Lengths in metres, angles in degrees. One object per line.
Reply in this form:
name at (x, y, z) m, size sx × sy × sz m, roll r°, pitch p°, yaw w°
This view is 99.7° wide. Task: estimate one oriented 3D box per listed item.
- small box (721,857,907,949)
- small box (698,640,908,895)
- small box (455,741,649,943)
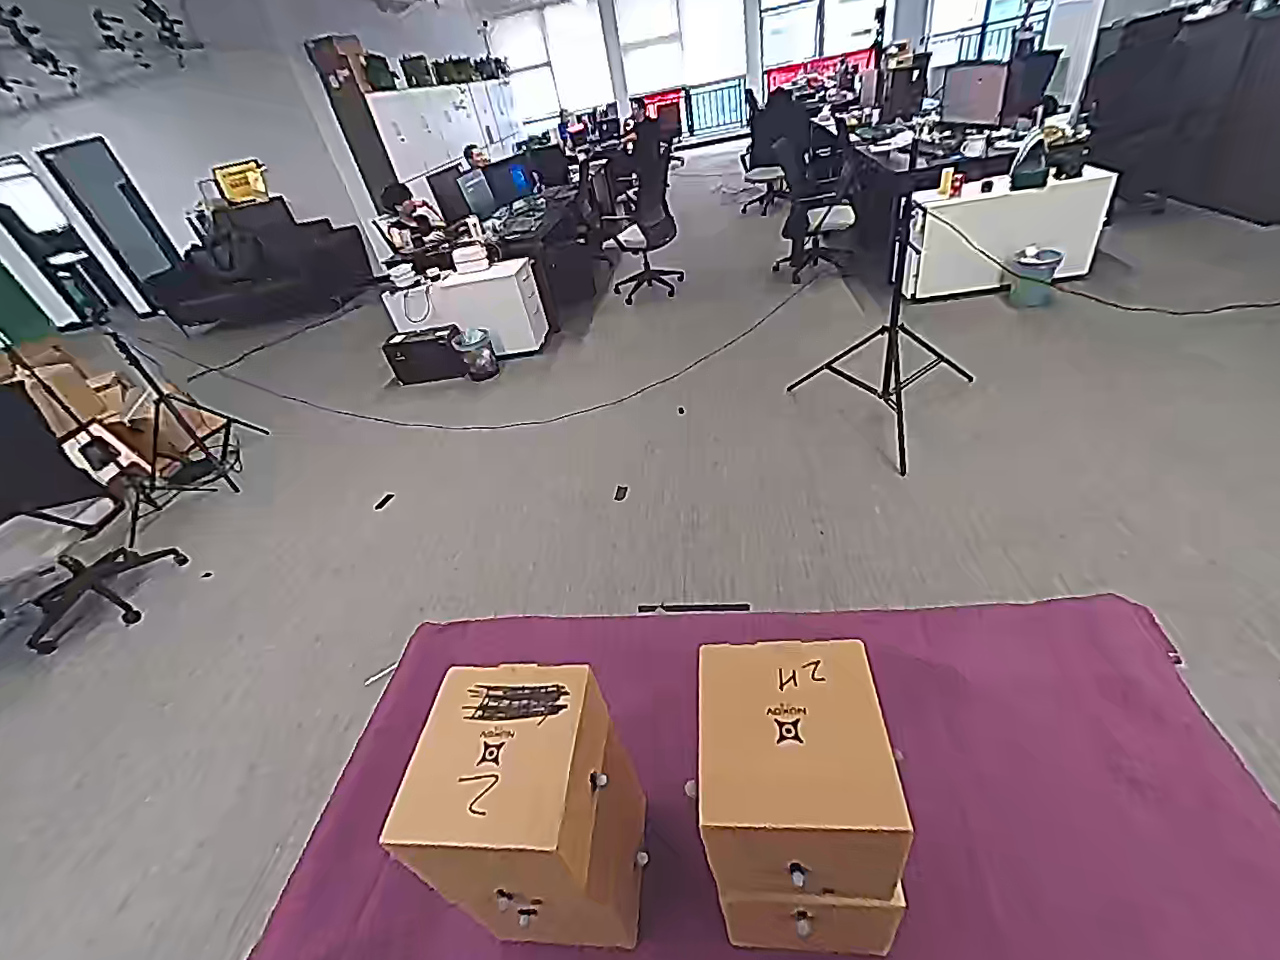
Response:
small box at (0.187, 0.419, 0.630) m, size 0.179 × 0.176 × 0.168 m, roll -5°, pitch 37°, yaw 11°
small box at (0.152, 0.285, 0.540) m, size 0.168 × 0.176 × 0.179 m, roll -5°, pitch 37°, yaw 11°
small box at (-0.094, 0.448, 0.673) m, size 0.179 × 0.176 × 0.168 m, roll -5°, pitch 37°, yaw 10°
